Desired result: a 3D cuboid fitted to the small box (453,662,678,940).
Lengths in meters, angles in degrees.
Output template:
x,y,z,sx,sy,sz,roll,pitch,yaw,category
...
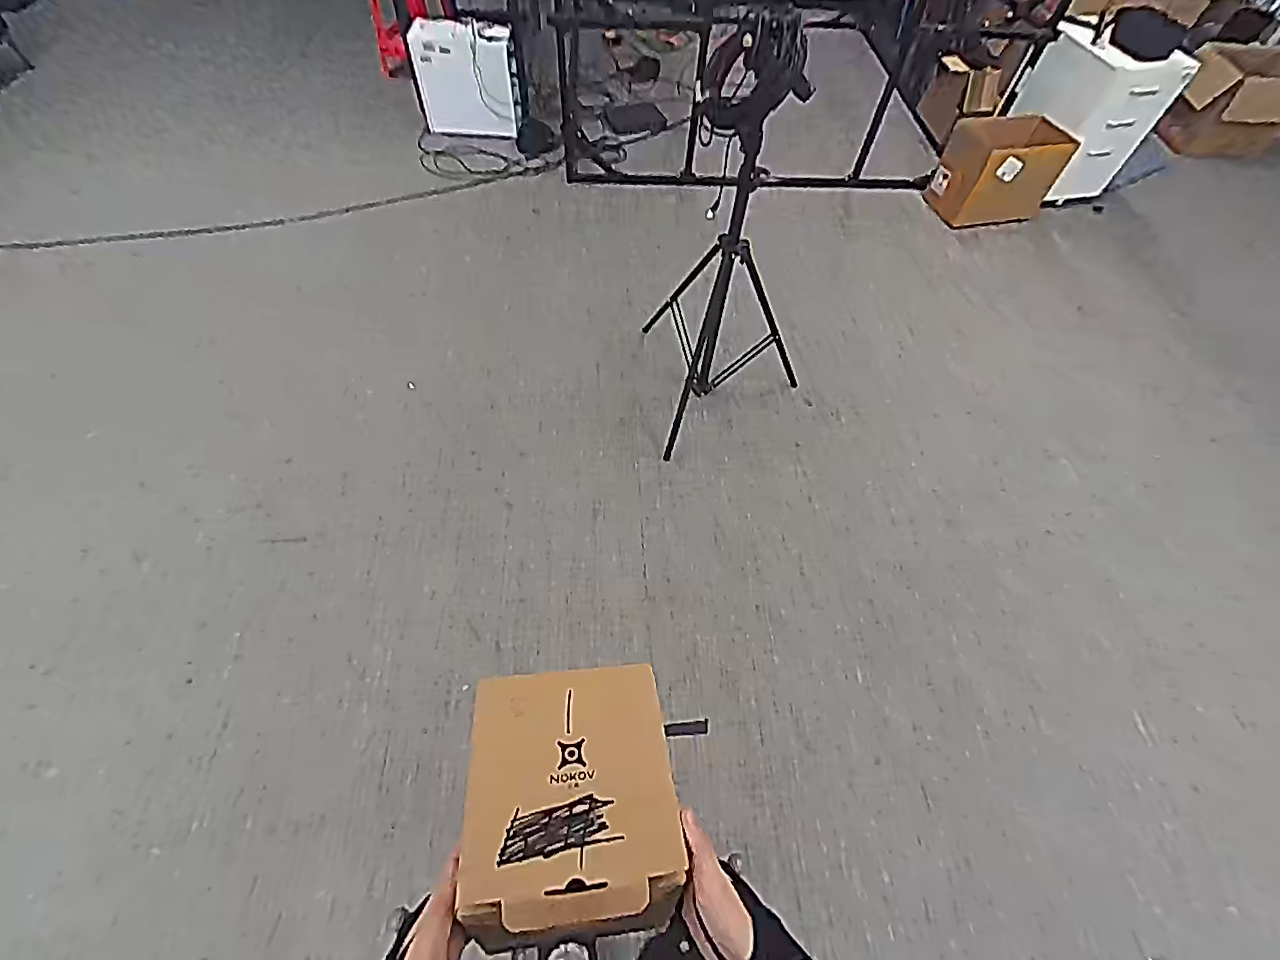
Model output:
x,y,z,sx,sy,sz,roll,pitch,yaw,category
-0.065,0.296,0.500,0.168,0.176,0.179,-2,40,-8,small box
